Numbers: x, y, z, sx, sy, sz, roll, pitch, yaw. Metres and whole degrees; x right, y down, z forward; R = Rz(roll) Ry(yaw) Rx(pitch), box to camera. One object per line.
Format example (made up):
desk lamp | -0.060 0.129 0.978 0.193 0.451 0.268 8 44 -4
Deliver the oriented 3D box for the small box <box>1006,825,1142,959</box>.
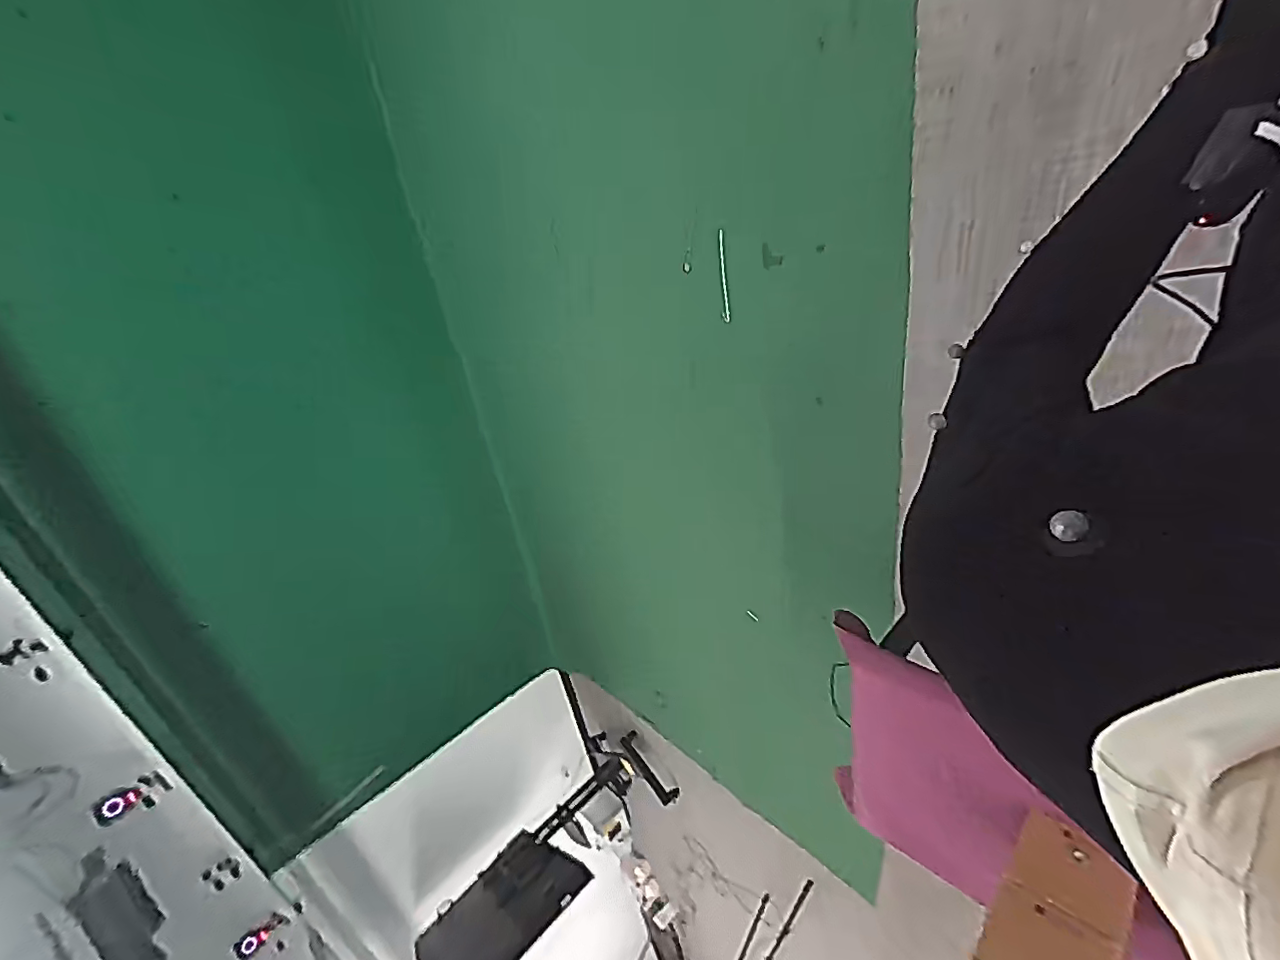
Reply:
small box | 0.786 0.791 0.987 0.168 0.176 0.179 12 123 47

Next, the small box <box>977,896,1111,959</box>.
small box | 0.668 0.858 0.895 0.168 0.176 0.179 11 123 47
